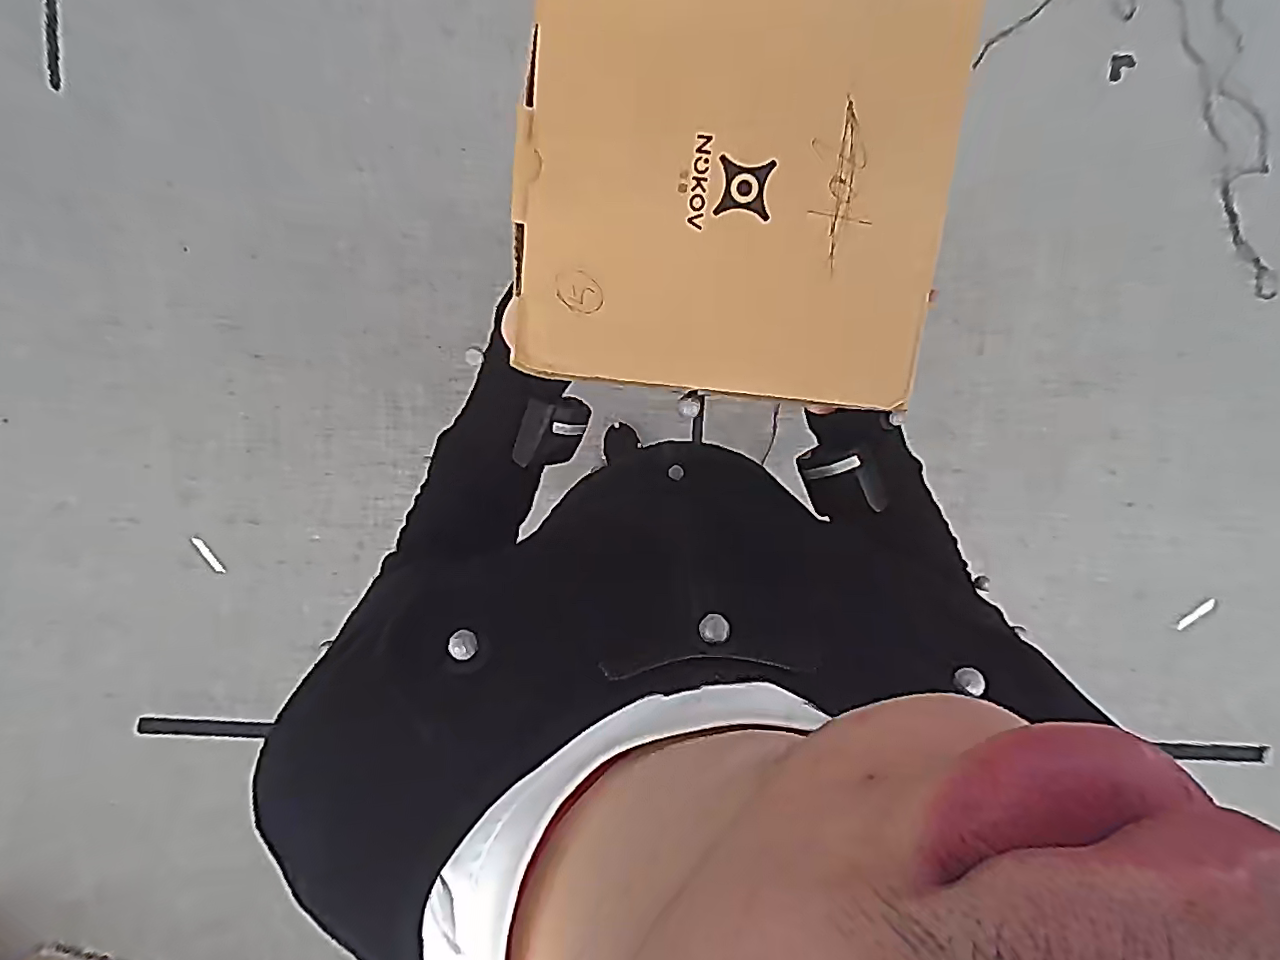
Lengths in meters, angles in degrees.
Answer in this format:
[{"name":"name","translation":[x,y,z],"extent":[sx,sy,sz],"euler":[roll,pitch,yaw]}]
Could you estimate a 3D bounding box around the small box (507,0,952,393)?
[{"name":"small box","translation":[0.034,-0.141,0.312],"extent":[0.179,0.176,0.168],"euler":[6,100,-2]}]
